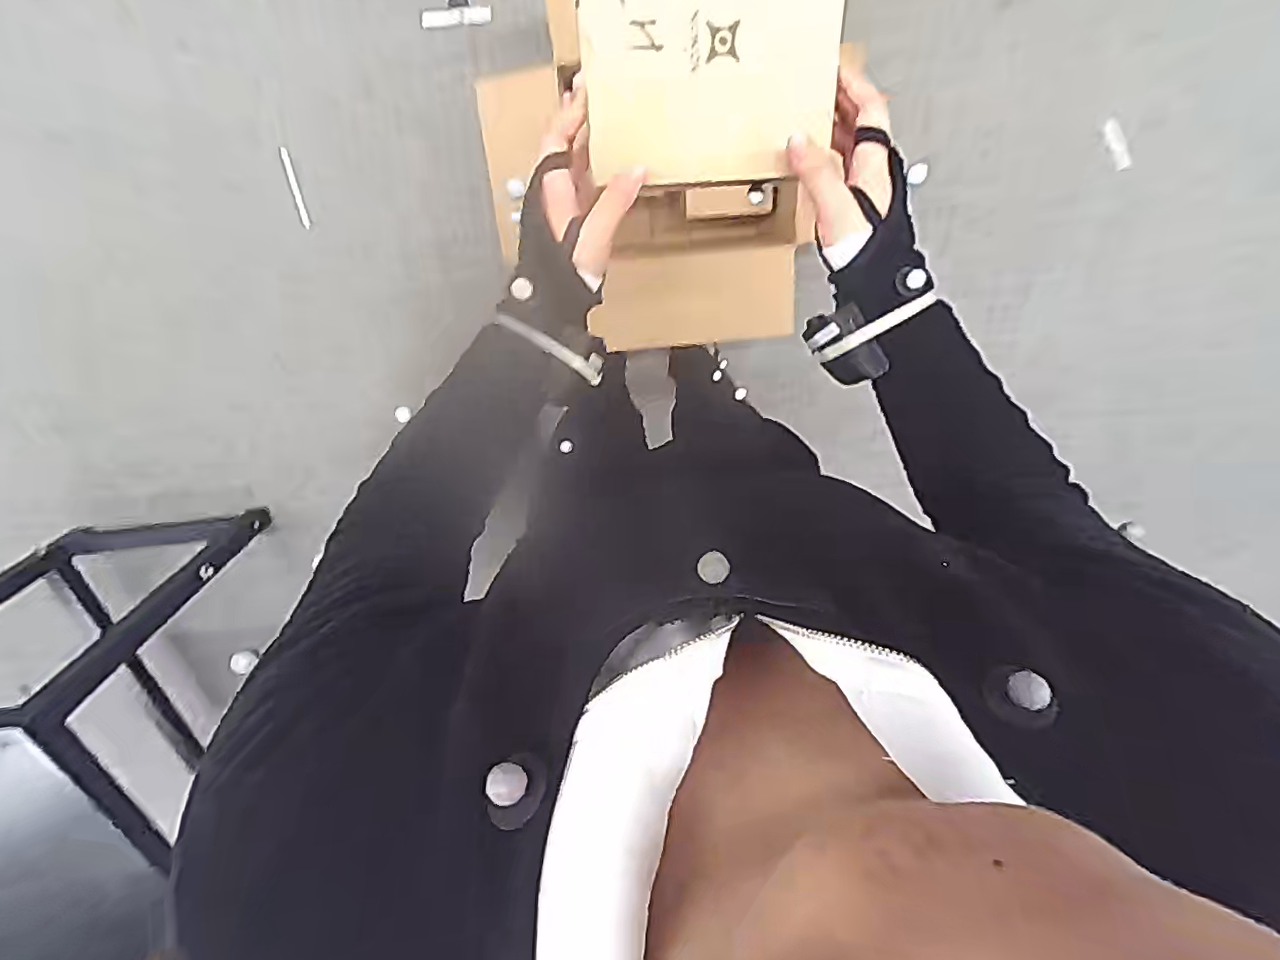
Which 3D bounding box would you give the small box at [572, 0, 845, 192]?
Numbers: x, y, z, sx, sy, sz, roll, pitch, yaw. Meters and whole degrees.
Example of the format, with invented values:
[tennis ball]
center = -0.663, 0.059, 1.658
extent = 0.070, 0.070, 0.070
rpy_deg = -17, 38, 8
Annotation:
[small box]
center = 0.044, -0.322, 0.422
extent = 0.179, 0.176, 0.168
rpy_deg = -2, 117, 2
